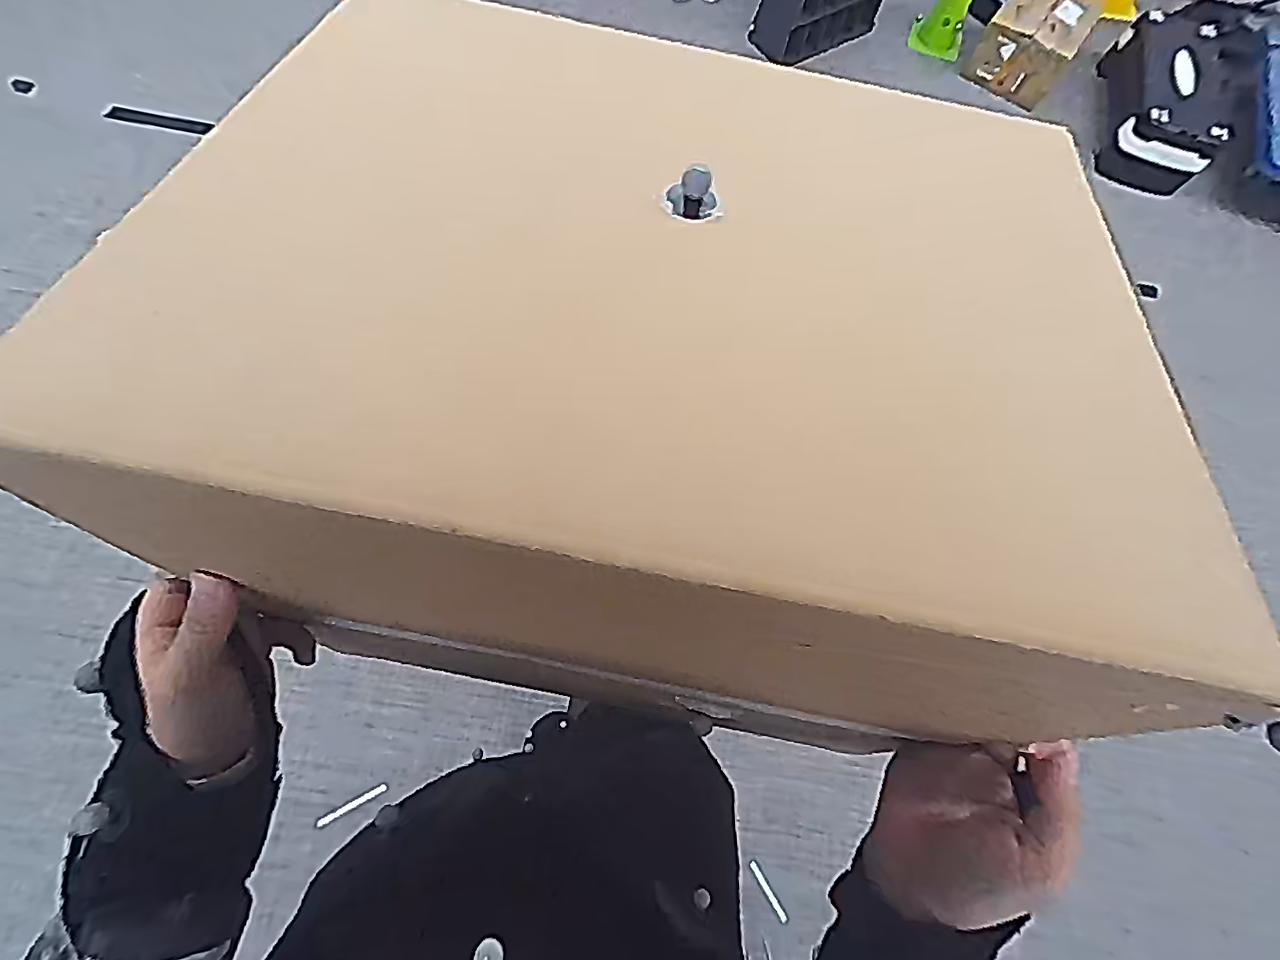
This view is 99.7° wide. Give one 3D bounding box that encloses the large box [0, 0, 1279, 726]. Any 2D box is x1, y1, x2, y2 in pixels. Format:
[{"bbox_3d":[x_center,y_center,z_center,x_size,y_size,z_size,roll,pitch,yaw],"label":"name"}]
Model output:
[{"bbox_3d":[0.006,-0.048,0.360,0.408,0.320,0.320,11,62,0],"label":"large box"}]
